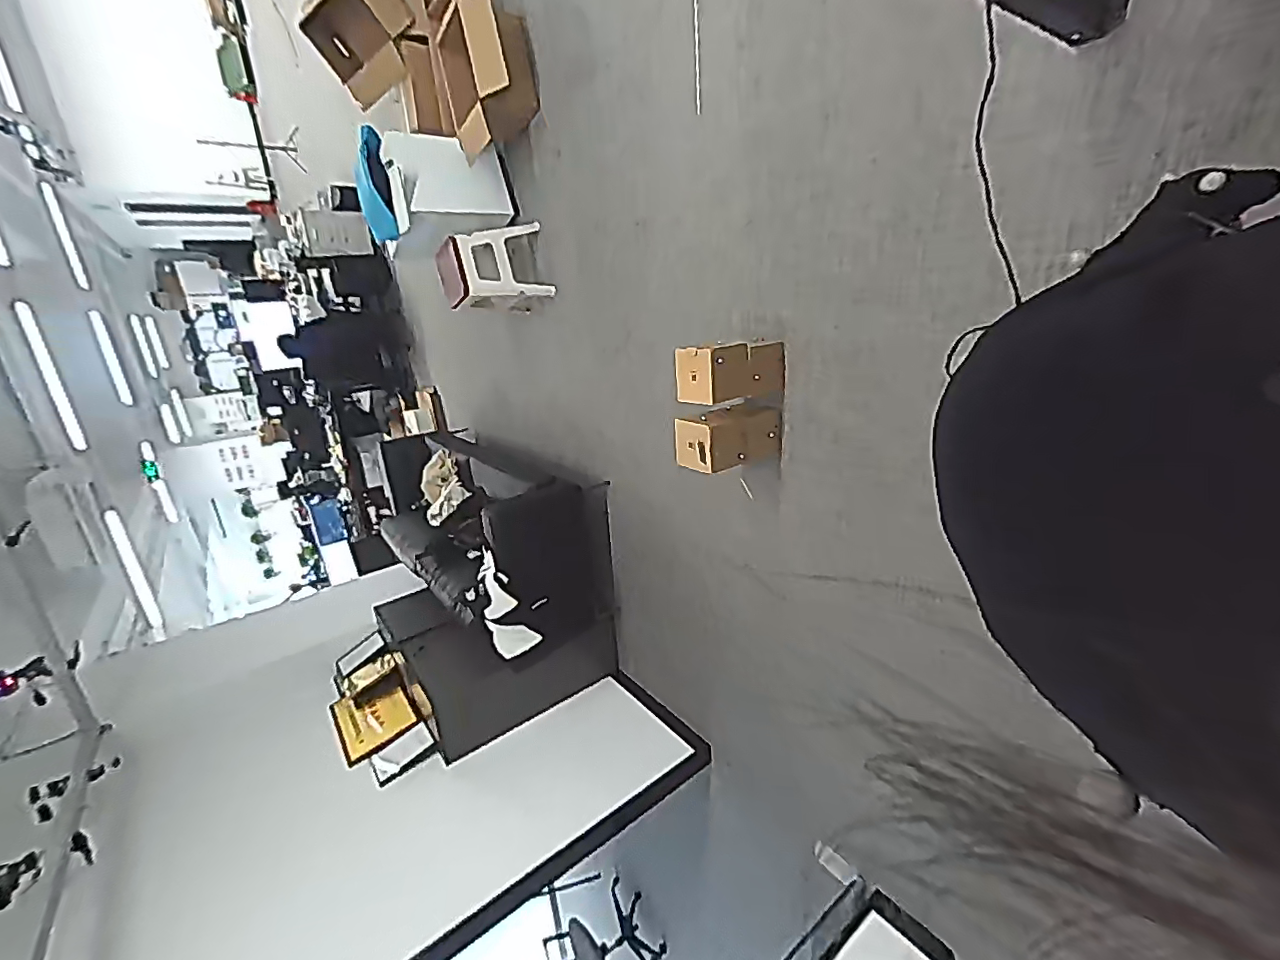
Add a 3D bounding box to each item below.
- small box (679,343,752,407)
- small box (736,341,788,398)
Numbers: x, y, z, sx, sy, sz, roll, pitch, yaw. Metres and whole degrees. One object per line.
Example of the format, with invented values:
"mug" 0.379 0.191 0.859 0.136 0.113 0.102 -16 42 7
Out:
"small box" 0.248 -0.345 1.753 0.168 0.176 0.179 17 118 51
"small box" 0.381 -0.380 1.841 0.179 0.176 0.168 19 121 51
